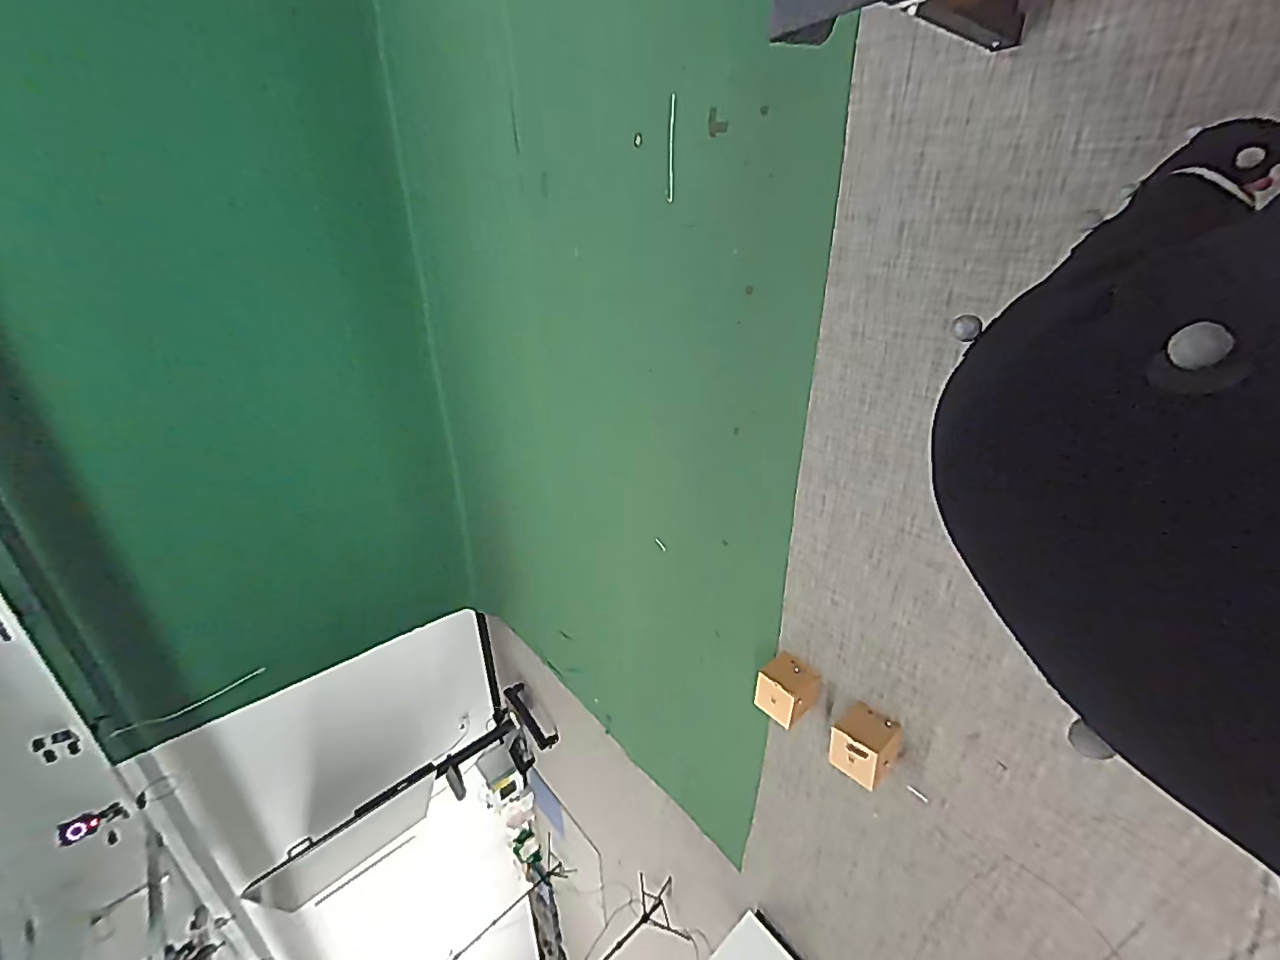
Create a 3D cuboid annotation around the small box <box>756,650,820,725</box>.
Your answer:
[{"bbox_3d":[0.573,0.797,2.091,0.168,0.176,0.179,27,126,42],"label":"small box"}]

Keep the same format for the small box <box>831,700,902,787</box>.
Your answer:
[{"bbox_3d":[0.784,0.901,1.869,0.168,0.176,0.179,21,123,46],"label":"small box"}]
